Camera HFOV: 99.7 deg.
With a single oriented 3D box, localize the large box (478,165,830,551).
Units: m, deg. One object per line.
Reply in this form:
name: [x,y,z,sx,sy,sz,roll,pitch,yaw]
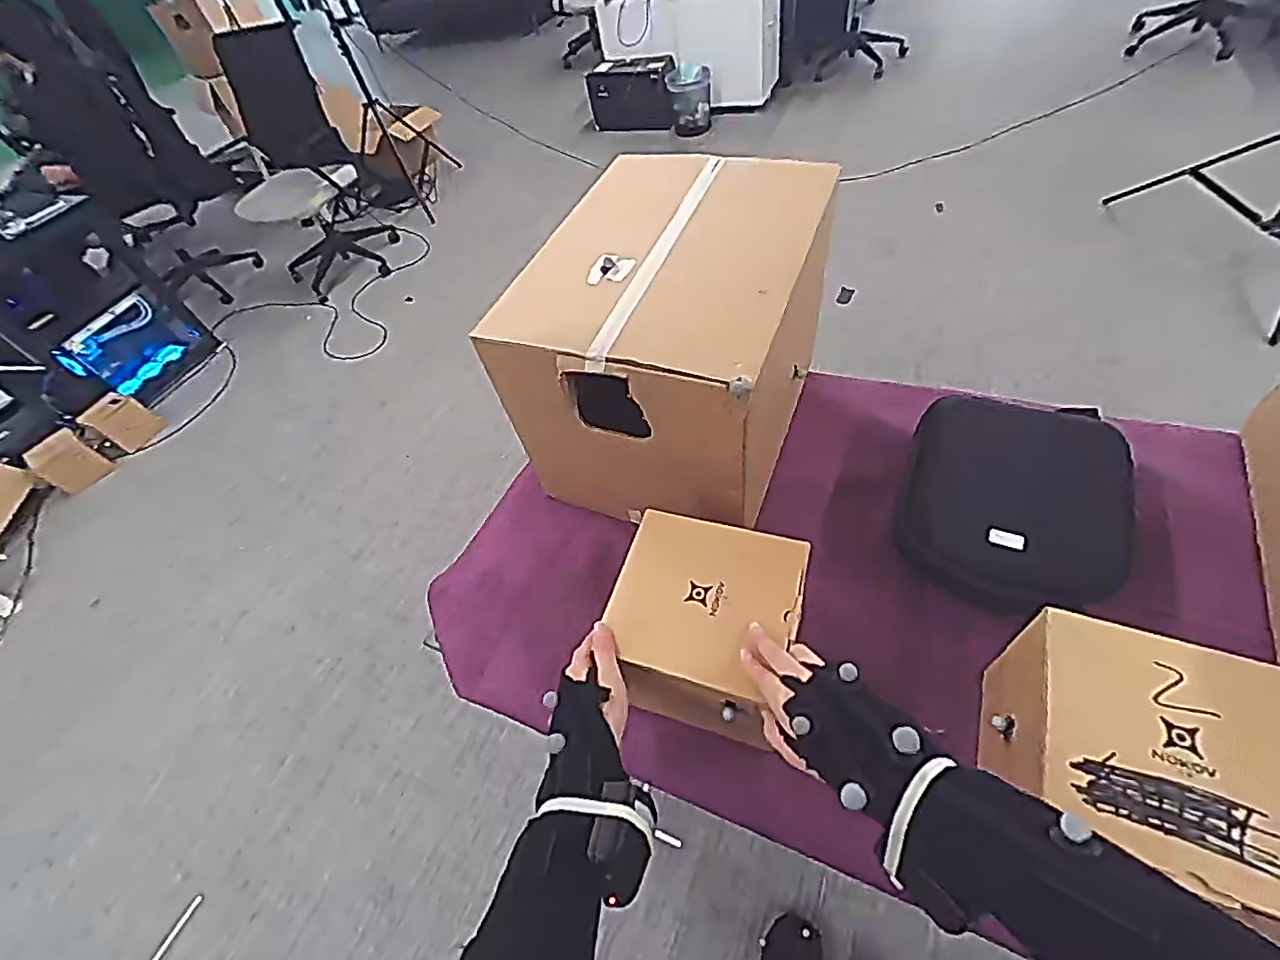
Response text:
large box: [0.052,-0.174,0.753,0.320,0.320,0.408,14,59,20]
